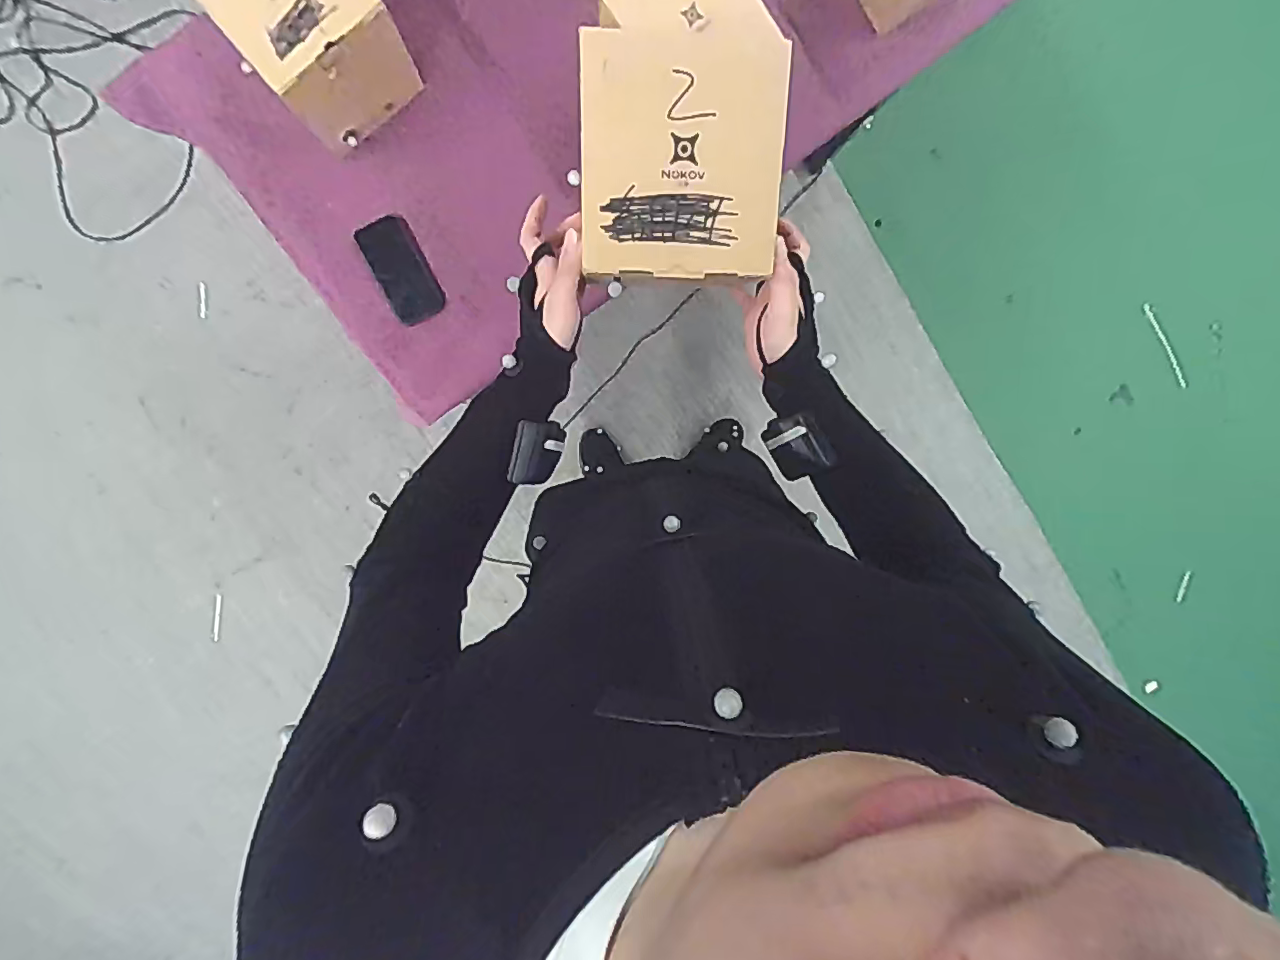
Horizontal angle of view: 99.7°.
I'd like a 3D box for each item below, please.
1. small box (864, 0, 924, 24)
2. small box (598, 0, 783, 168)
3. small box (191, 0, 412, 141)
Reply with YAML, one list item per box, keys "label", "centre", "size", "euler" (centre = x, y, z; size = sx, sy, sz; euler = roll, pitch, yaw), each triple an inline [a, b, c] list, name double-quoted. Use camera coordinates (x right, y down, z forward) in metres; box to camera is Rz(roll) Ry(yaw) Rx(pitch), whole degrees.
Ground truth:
- label: "small box"
  centre: [0.390, -0.791, 0.731]
  size: [0.168, 0.176, 0.179]
  euler: [-34, 99, 1]
- label: "small box"
  centre: [0.054, -0.572, 0.731]
  size: [0.168, 0.176, 0.179]
  euler: [-38, 98, 0]
- label: "small box"
  centre: [-0.426, -0.573, 0.684]
  size: [0.168, 0.176, 0.179]
  euler: [-40, 98, 0]
